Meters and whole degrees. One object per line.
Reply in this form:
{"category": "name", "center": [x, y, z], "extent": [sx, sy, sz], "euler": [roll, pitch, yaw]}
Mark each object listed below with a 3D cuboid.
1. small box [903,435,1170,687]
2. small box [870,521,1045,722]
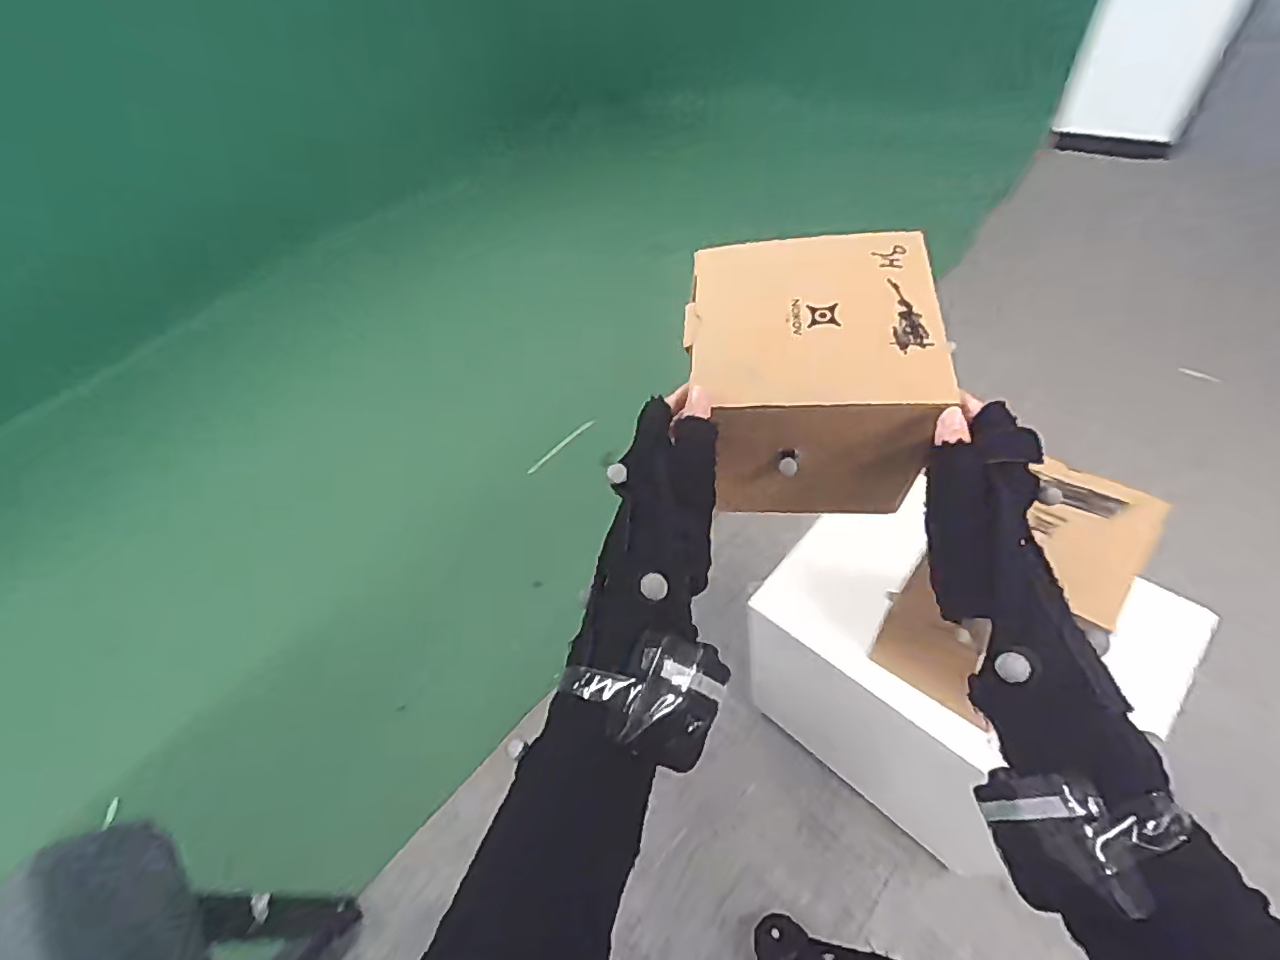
{"category": "small box", "center": [0.415, 0.088, 0.593], "extent": [0.168, 0.176, 0.179], "euler": [29, 61, 29]}
{"category": "small box", "center": [0.434, 0.193, 0.719], "extent": [0.179, 0.176, 0.168], "euler": [29, 62, 32]}
